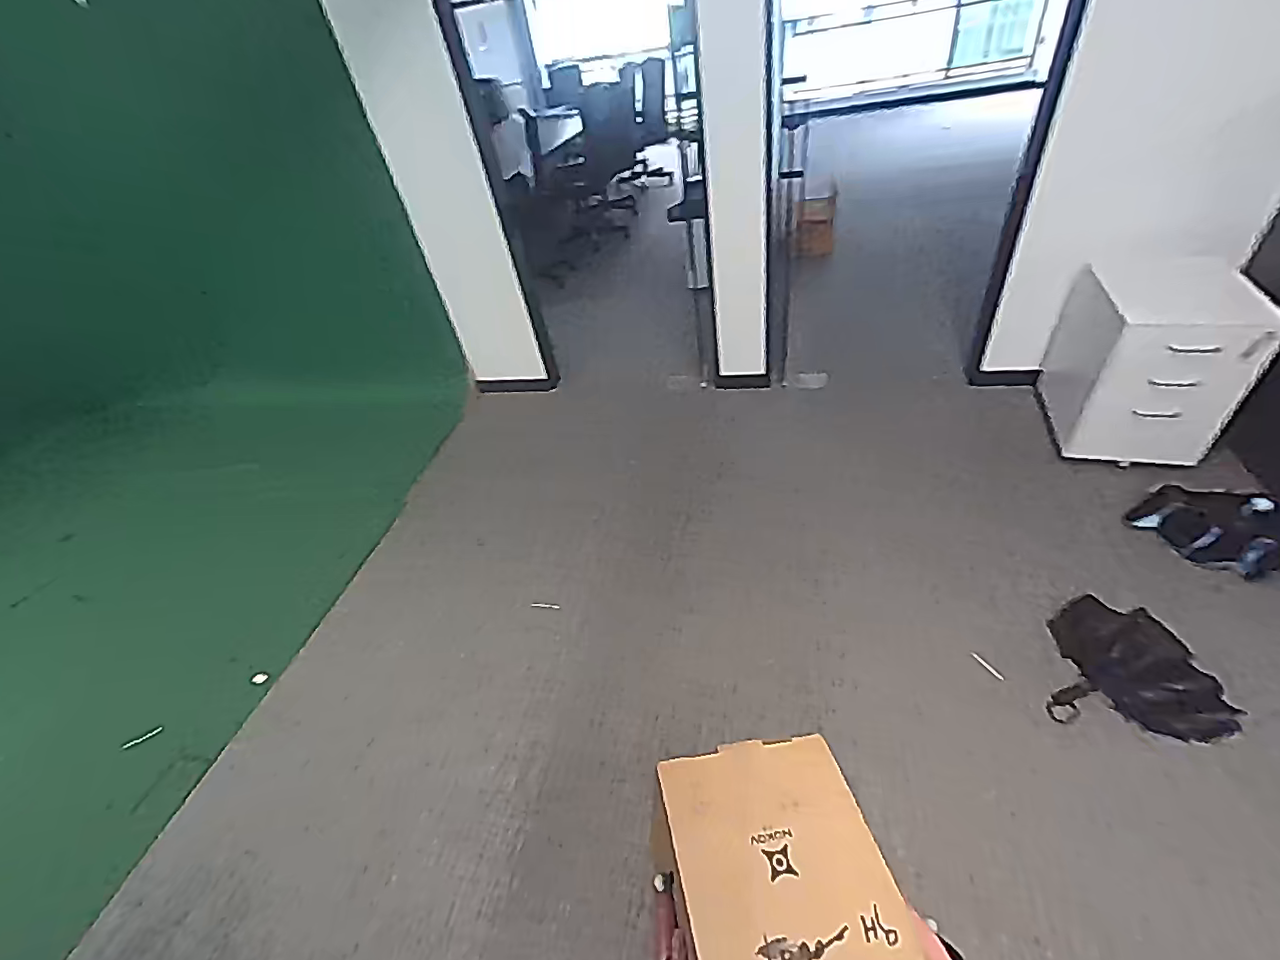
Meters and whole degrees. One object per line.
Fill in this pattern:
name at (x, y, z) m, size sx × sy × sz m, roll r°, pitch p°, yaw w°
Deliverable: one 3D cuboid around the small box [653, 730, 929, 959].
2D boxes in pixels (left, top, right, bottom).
small box at (0.109, 0.362, 0.484) m, size 0.168 × 0.176 × 0.179 m, roll -6°, pitch 35°, yaw -10°
